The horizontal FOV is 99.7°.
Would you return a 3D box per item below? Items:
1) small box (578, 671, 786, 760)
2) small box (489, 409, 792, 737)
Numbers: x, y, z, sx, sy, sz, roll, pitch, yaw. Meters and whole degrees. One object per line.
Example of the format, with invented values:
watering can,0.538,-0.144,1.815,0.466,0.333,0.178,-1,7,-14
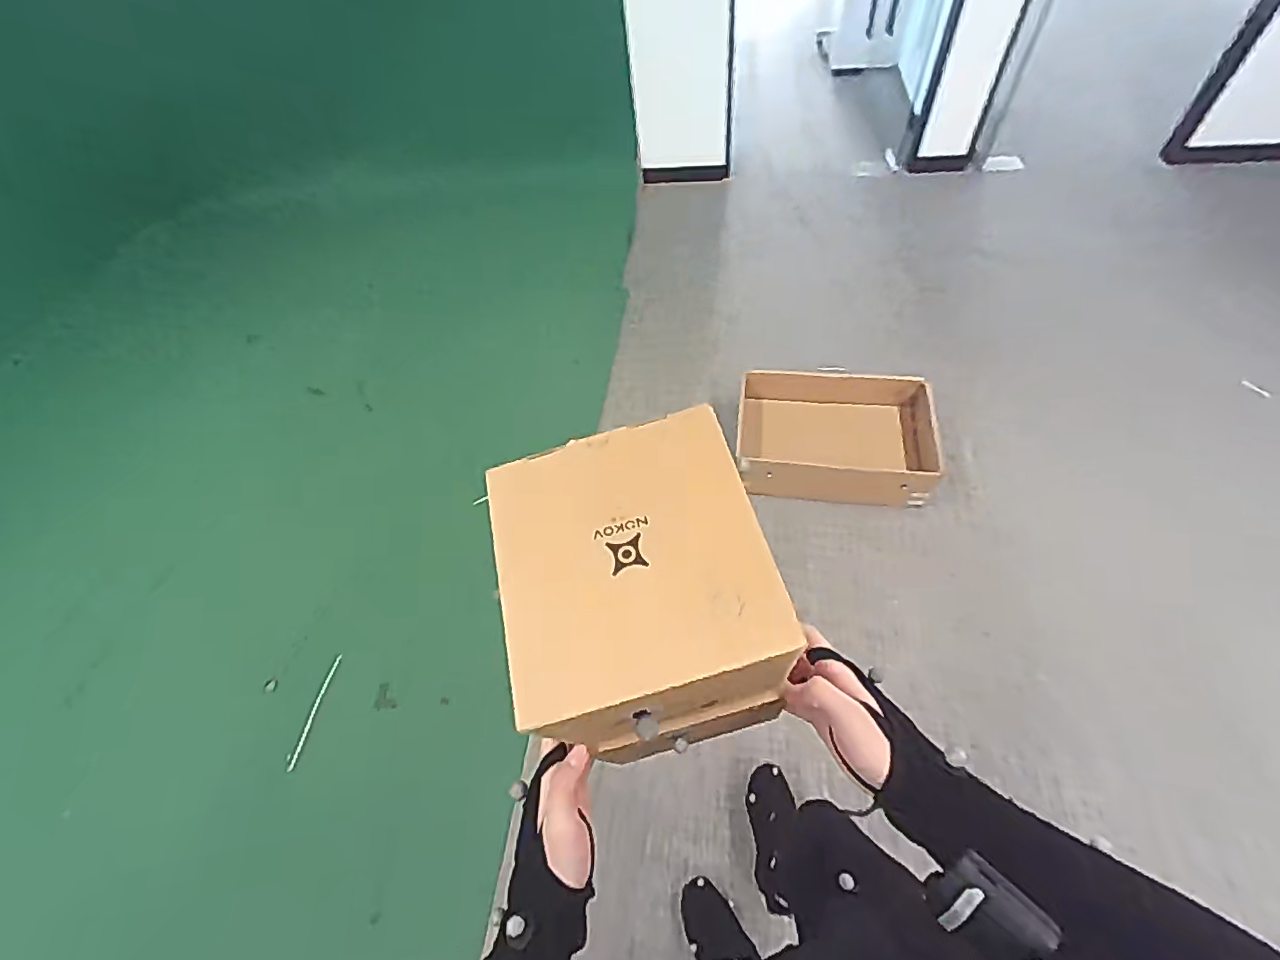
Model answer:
small box,0.031,0.168,0.541,0.179,0.176,0.168,-16,58,0
small box,0.003,0.082,0.407,0.168,0.176,0.179,-17,58,1
